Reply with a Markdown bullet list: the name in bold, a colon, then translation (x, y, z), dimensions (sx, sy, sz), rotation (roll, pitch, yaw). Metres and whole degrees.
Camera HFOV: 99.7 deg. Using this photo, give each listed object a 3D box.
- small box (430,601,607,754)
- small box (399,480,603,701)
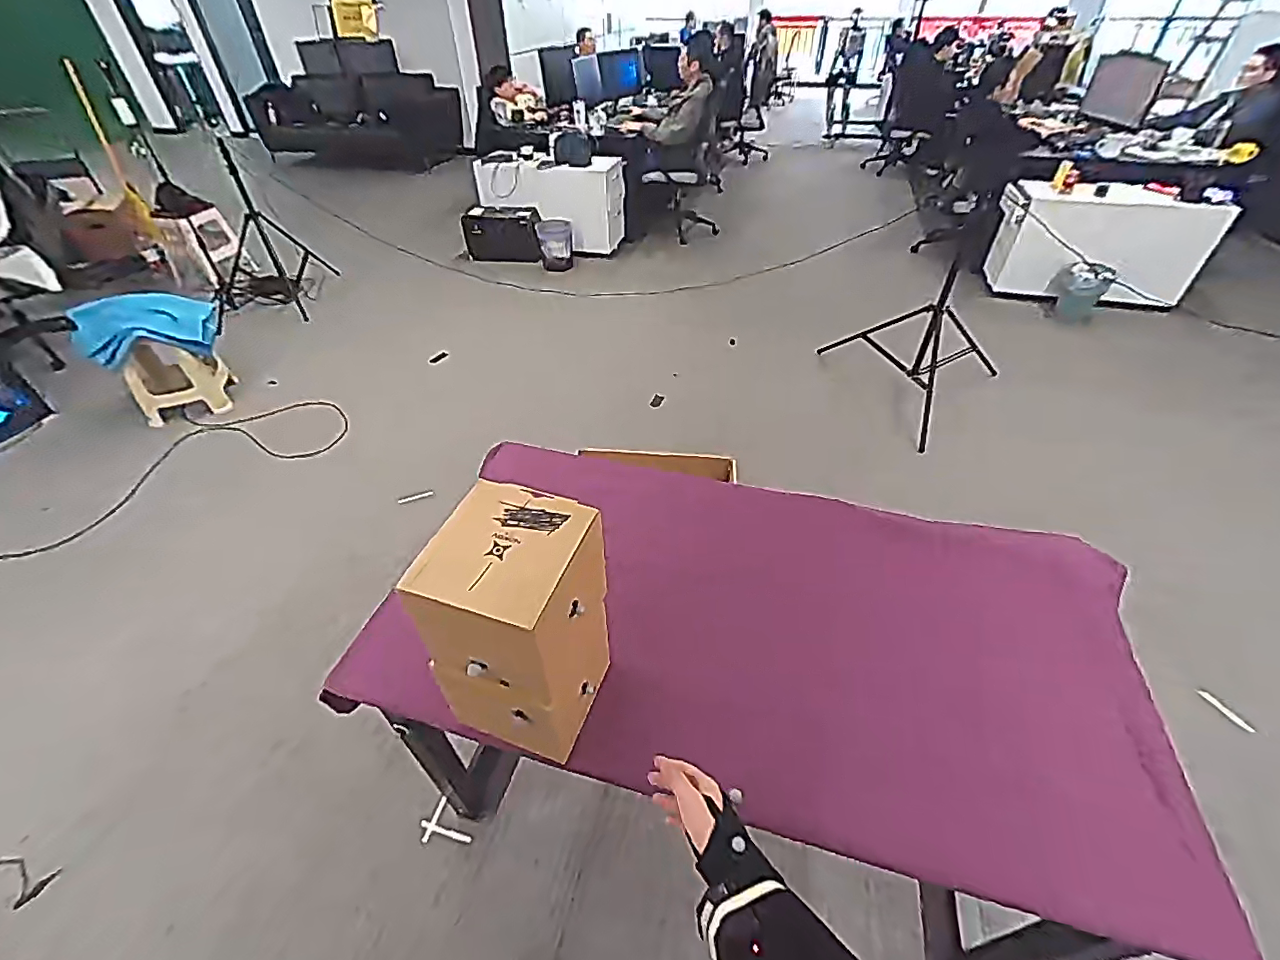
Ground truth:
- **small box**: translation (-0.154, 0.258, 0.763), dimensions (0.179, 0.176, 0.168), rotation (13, 44, 15)
- **small box**: translation (-0.150, 0.131, 0.657), dimensions (0.168, 0.176, 0.179), rotation (13, 45, 15)
